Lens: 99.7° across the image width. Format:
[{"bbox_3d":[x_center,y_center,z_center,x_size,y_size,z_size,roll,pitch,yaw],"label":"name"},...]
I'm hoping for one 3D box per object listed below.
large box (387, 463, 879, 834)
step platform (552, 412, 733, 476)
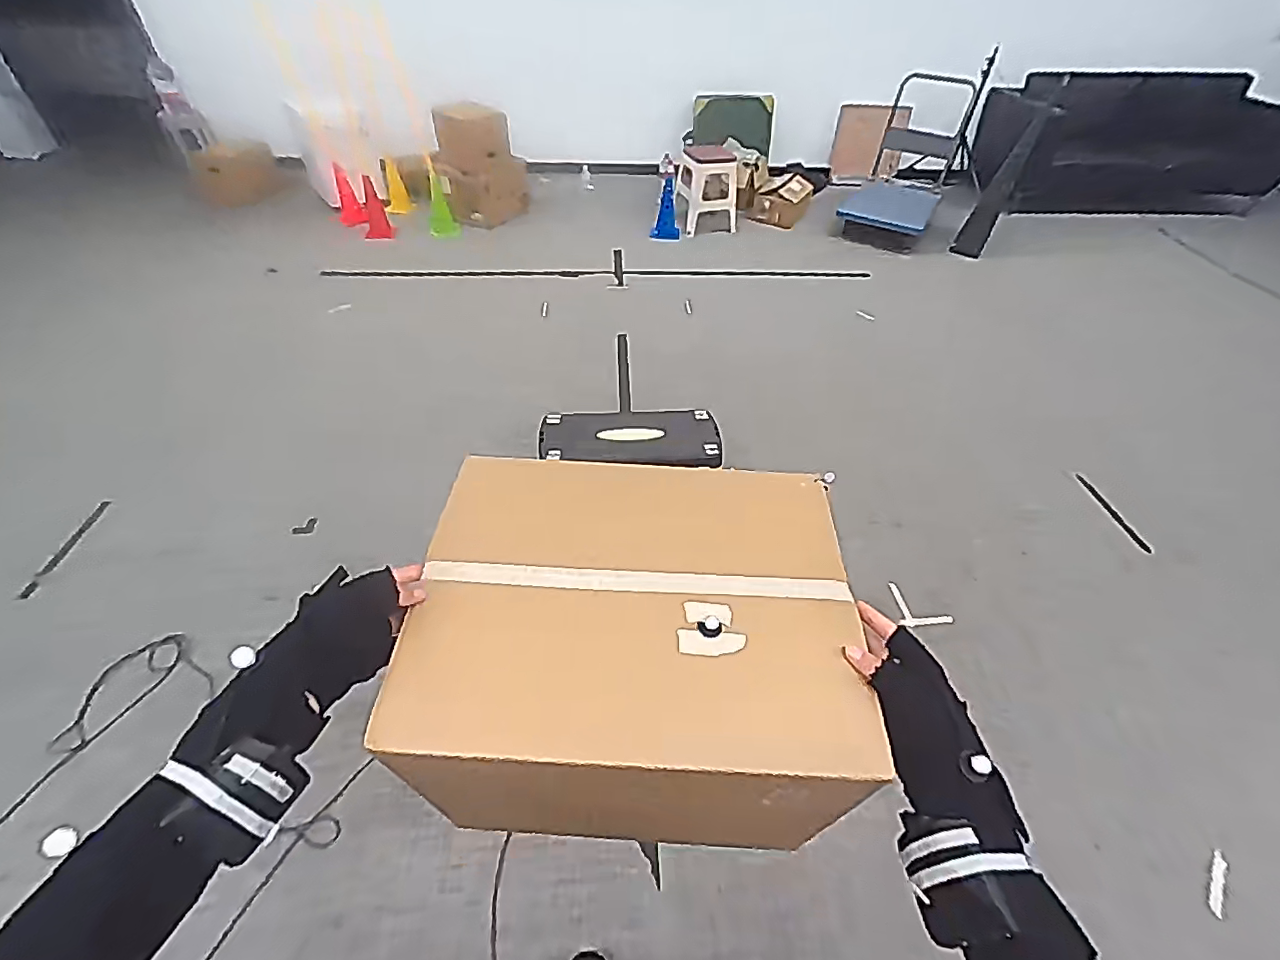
[{"bbox_3d":[-0.007,0.202,0.637,0.408,0.320,0.320,4,48,0],"label":"large box"},{"bbox_3d":[0.008,-0.101,2.063,0.684,0.204,0.286,-2,46,-6],"label":"step platform"}]
